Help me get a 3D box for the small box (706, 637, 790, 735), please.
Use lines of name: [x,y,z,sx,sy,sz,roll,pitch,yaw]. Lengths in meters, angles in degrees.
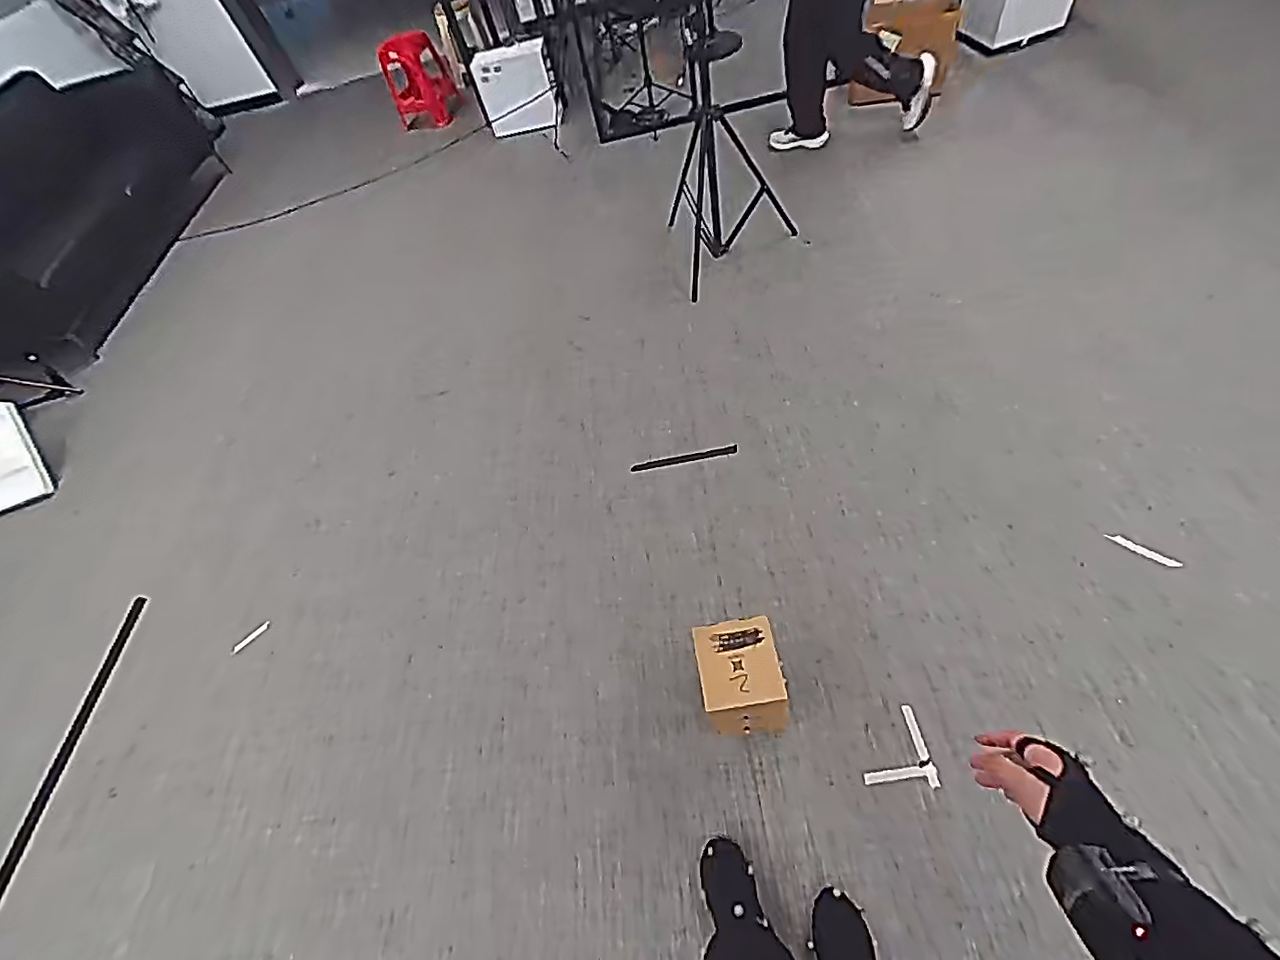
small box: [0.259,0.503,1.314,0.168,0.176,0.179,-11,55,5]
